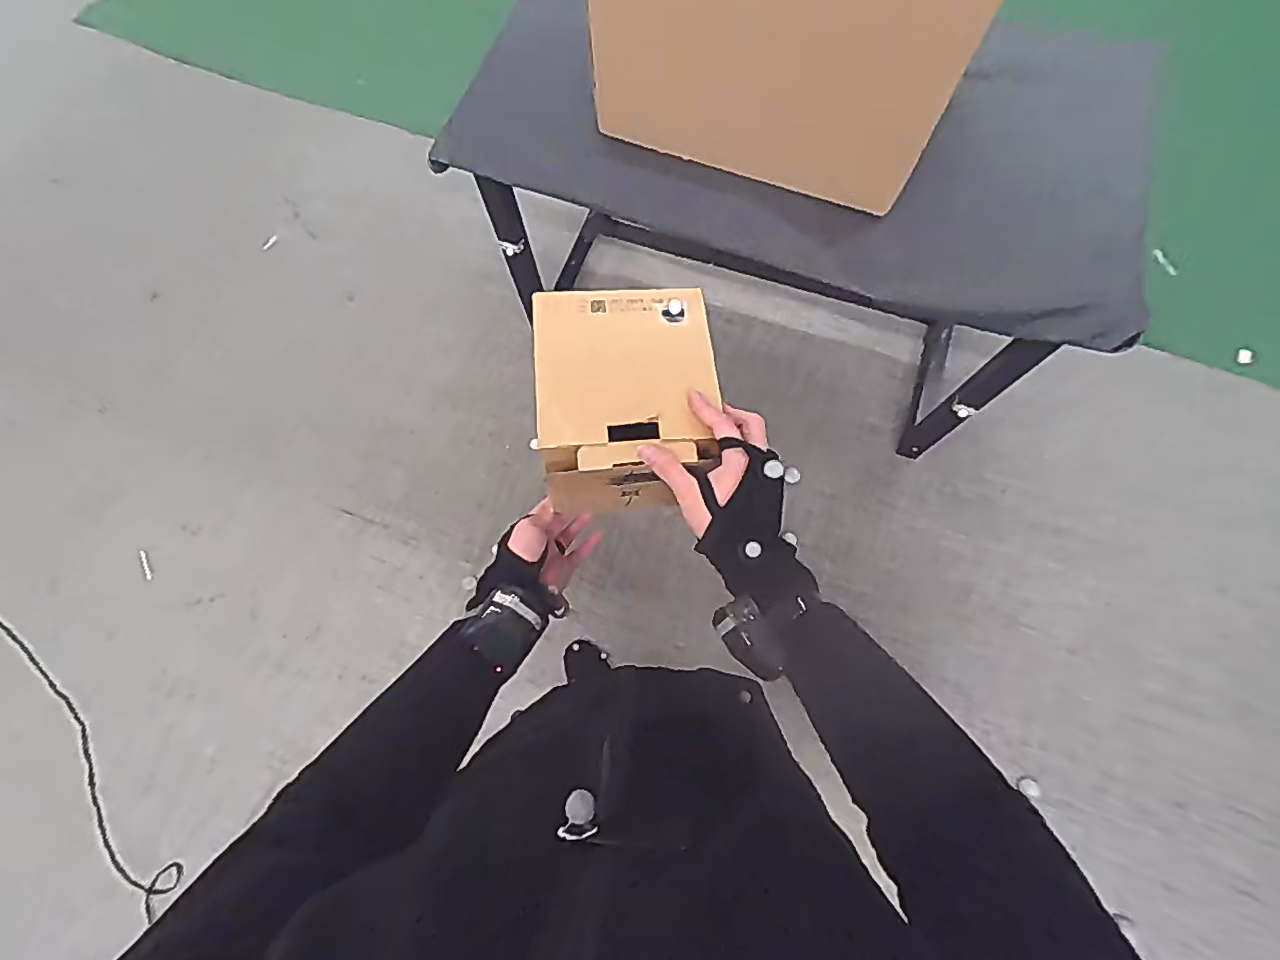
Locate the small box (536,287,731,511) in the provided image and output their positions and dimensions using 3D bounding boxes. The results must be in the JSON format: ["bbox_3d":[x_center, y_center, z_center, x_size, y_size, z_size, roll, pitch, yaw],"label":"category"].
[{"bbox_3d":[-0.018,-0.079,0.559,0.168,0.179,0.176,-3,67,-7],"label":"small box"}]
